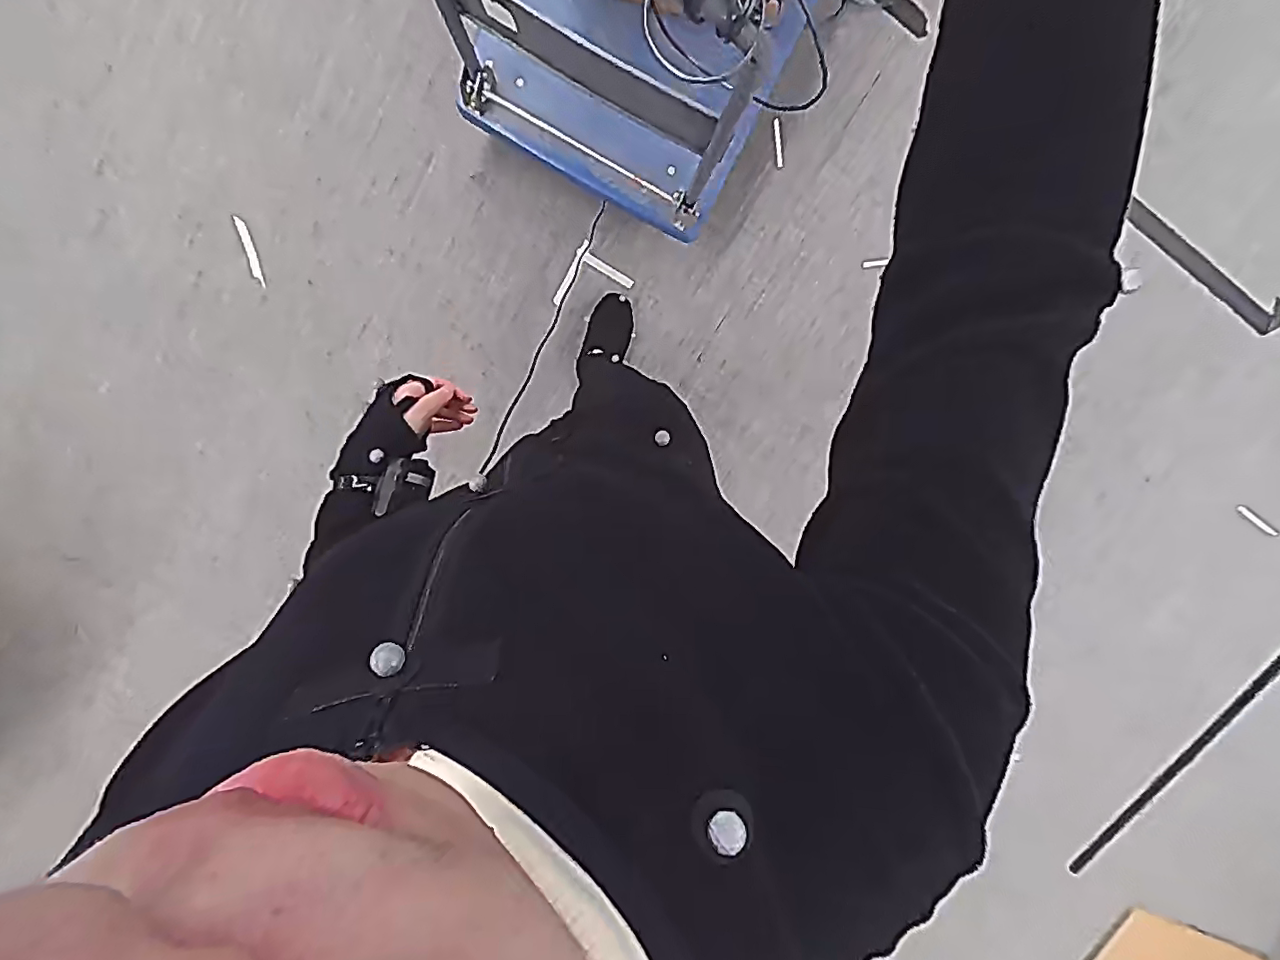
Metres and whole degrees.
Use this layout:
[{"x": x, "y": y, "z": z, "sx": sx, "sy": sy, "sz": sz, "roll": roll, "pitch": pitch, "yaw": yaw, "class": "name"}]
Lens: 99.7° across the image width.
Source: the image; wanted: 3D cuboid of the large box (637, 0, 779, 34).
[{"x": 0.094, "y": -1.048, "z": 0.903, "sx": 0.408, "sy": 0.320, "sz": 0.320, "roll": 12, "pitch": 104, "yaw": -6, "class": "large box"}]
